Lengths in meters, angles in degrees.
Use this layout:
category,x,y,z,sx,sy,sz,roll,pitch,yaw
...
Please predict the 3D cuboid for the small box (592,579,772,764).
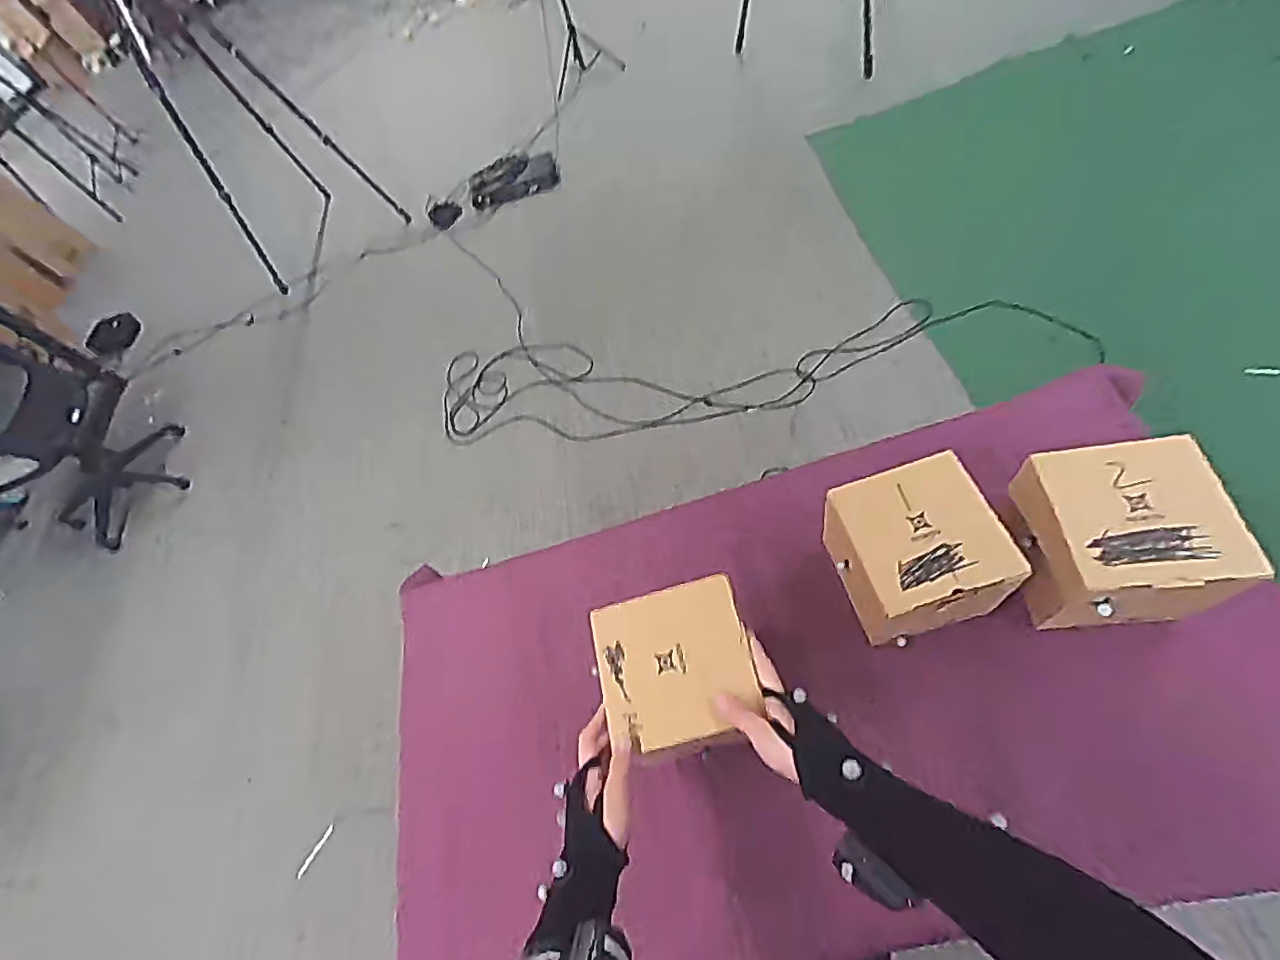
category,x,y,z,sx,sy,sz,roll,pitch,yaw
small box,0.055,0.244,0.671,0.179,0.176,0.168,-16,57,5
